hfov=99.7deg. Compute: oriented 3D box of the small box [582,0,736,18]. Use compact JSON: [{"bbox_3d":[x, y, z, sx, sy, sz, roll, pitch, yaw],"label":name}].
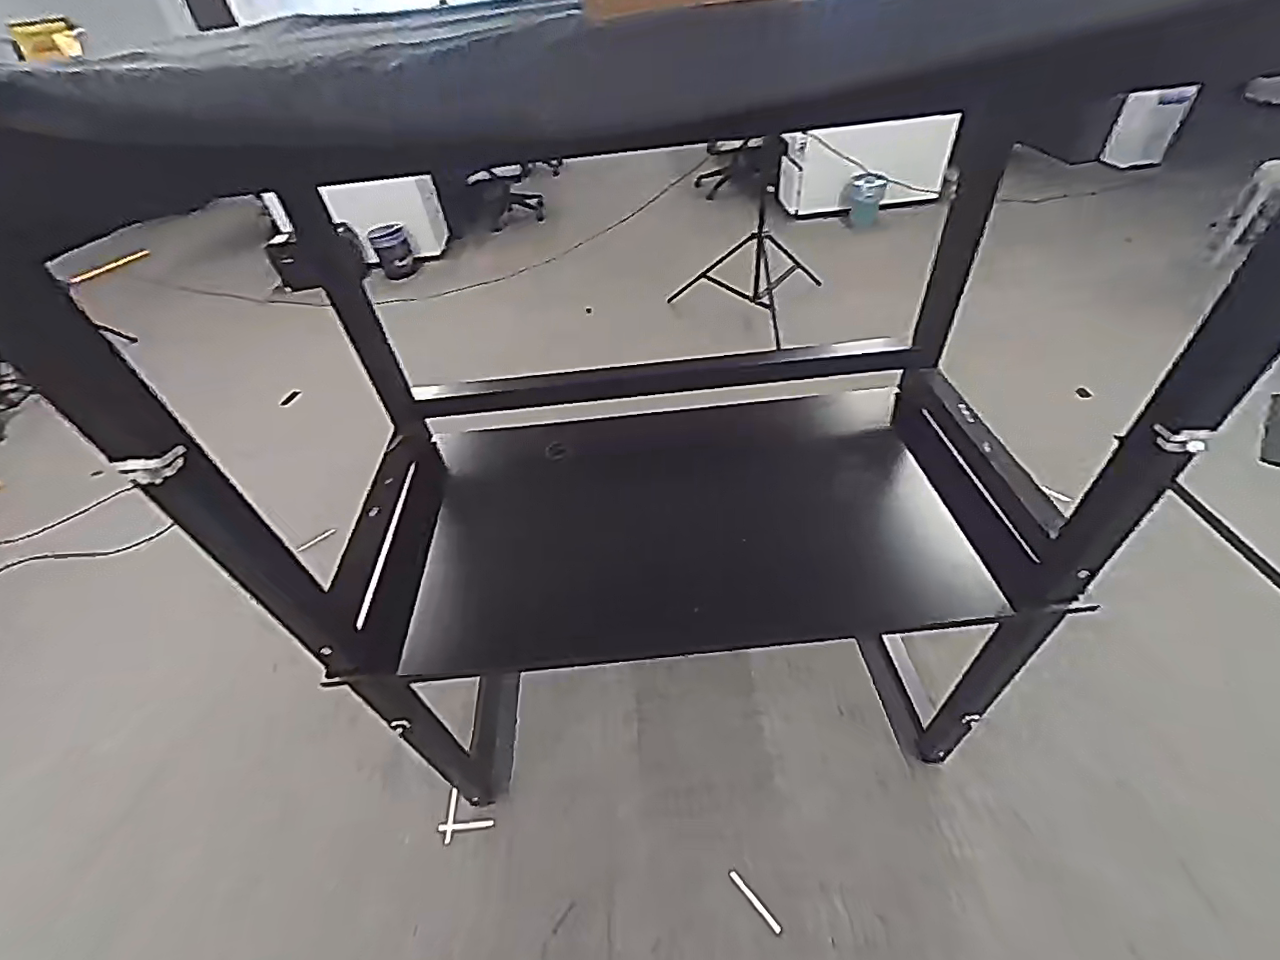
[{"bbox_3d":[0.028,-0.463,0.400,0.168,0.176,0.179,-7,42,0],"label":"small box"}]
